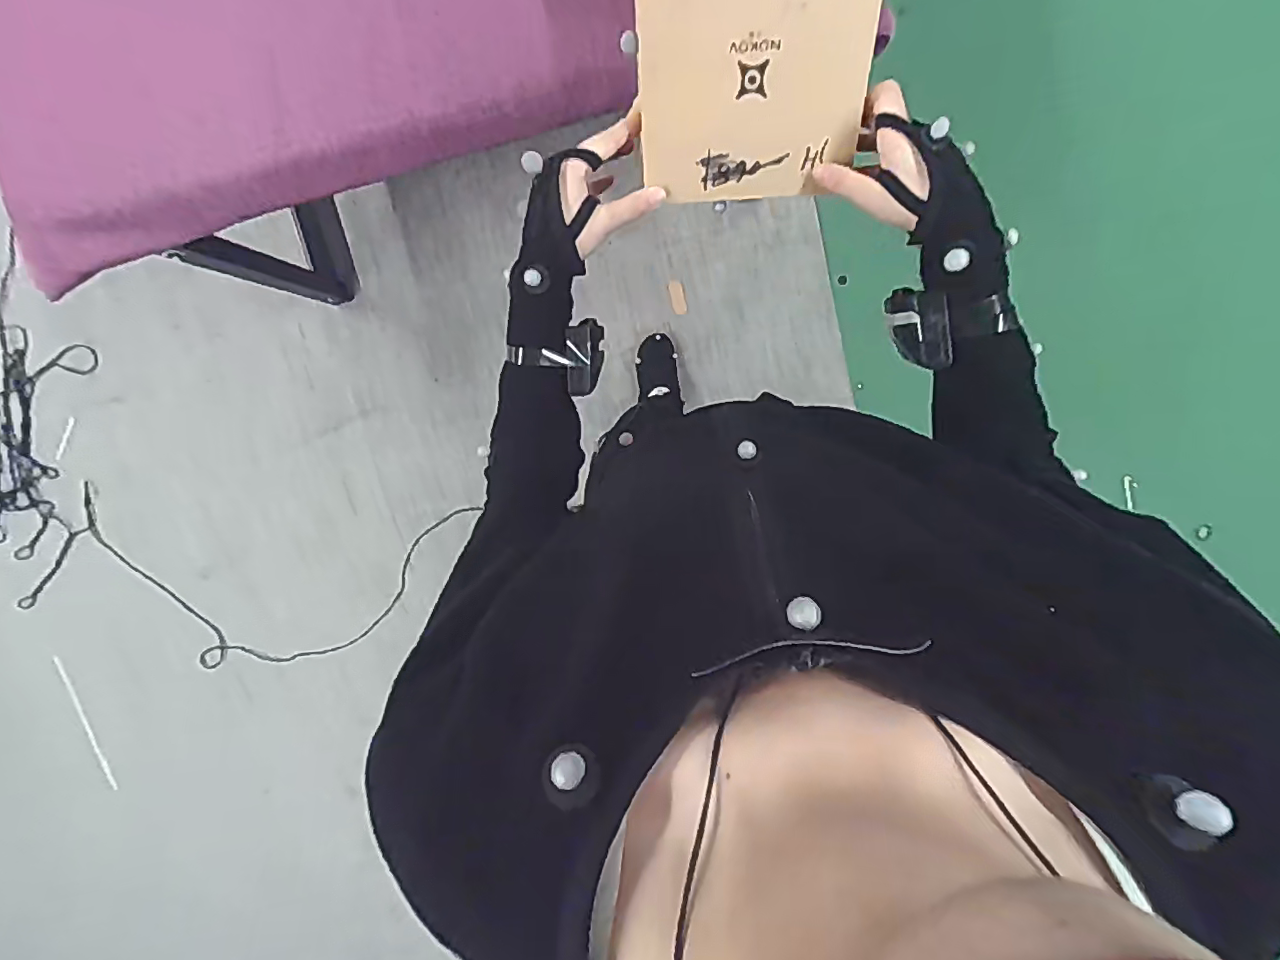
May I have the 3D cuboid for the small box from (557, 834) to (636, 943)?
[{"bbox_3d":[-0.116,1.172,1.565,0.179,0.176,0.168,-23,95,7],"label":"small box"}]

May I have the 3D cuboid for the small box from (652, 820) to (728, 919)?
[{"bbox_3d":[0.139,1.108,1.536,0.179,0.176,0.168,-19,95,9],"label":"small box"}]

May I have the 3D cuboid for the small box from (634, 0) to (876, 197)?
[{"bbox_3d":[0.079,-0.349,0.445,0.168,0.176,0.179,-2,129,3],"label":"small box"}]

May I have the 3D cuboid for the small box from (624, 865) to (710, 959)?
[{"bbox_3d":[0.073,1.126,1.380,0.168,0.176,0.179,-21,94,9],"label":"small box"}]
